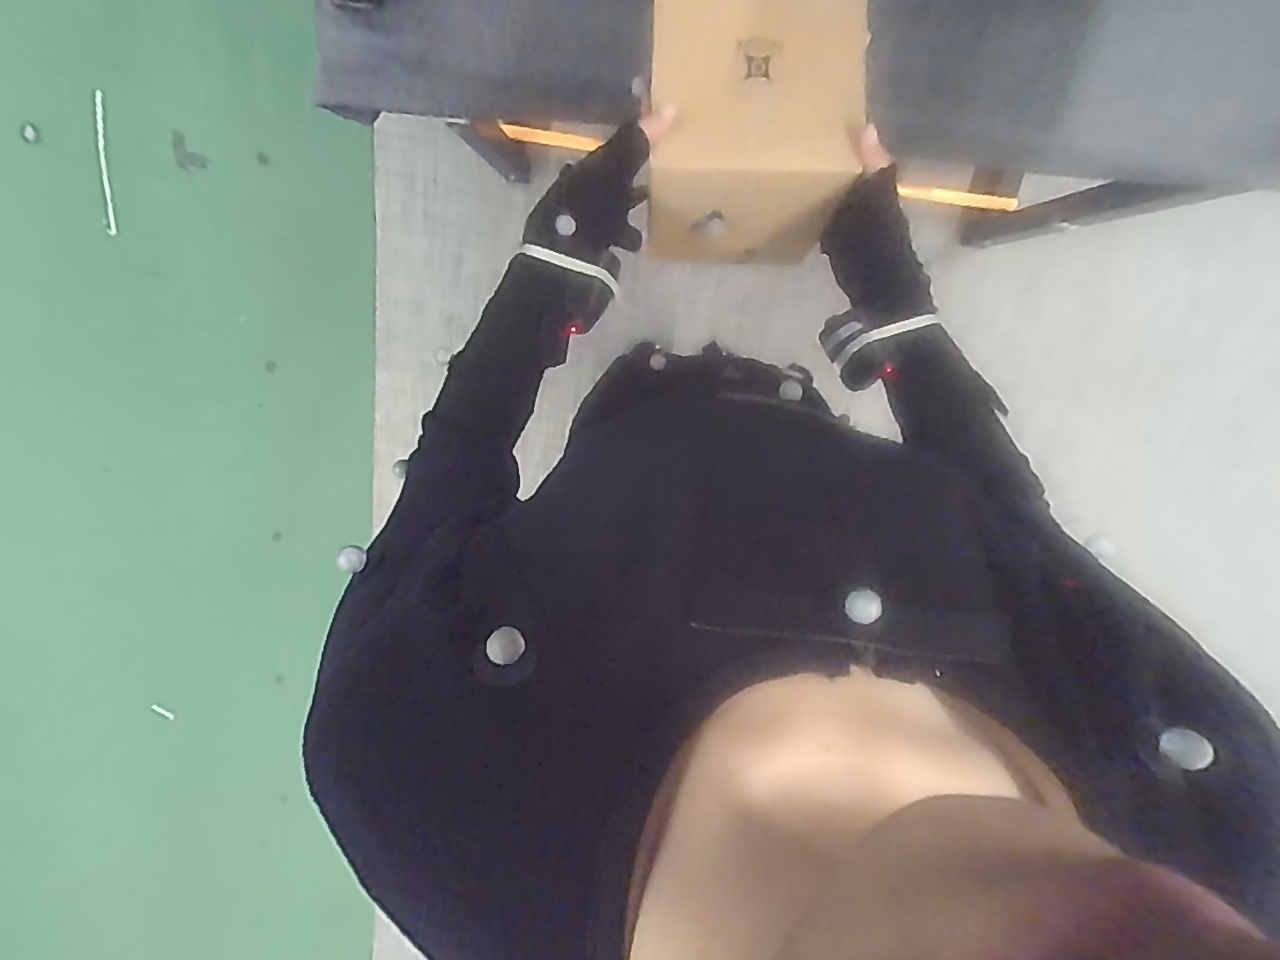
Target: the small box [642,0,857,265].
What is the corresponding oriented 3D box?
[{"bbox_3d":[0.090,-0.320,0.506,0.168,0.176,0.179,2,86,1],"label":"small box"}]
